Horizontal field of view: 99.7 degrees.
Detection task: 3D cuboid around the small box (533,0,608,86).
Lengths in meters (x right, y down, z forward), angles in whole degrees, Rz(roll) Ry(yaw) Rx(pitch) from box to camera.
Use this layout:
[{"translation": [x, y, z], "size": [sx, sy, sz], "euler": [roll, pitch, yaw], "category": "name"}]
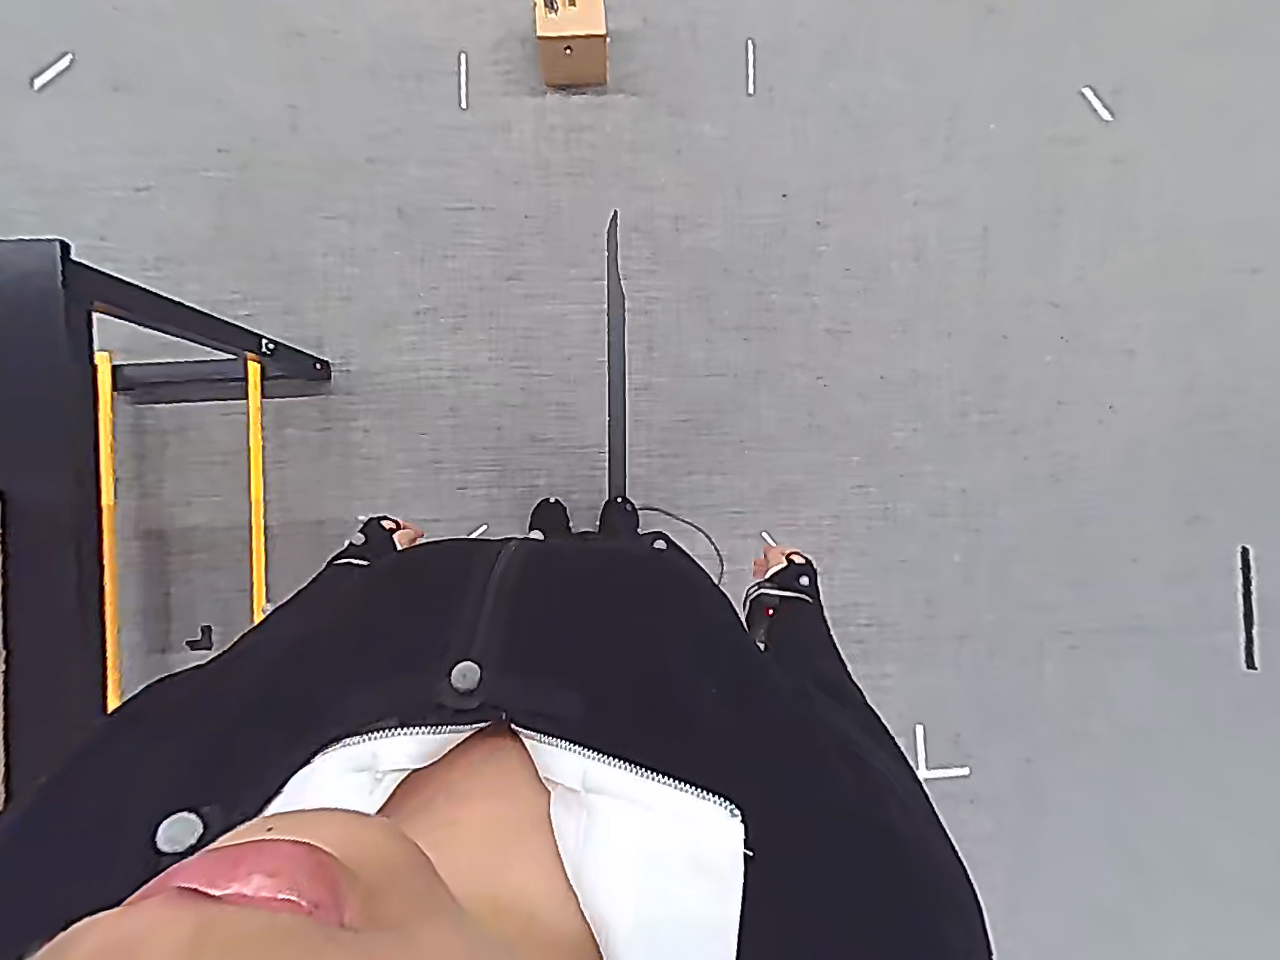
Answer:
[{"translation": [-0.179, -1.169, 1.414], "size": [0.179, 0.176, 0.168], "euler": [-5, 90, -3], "category": "small box"}]
